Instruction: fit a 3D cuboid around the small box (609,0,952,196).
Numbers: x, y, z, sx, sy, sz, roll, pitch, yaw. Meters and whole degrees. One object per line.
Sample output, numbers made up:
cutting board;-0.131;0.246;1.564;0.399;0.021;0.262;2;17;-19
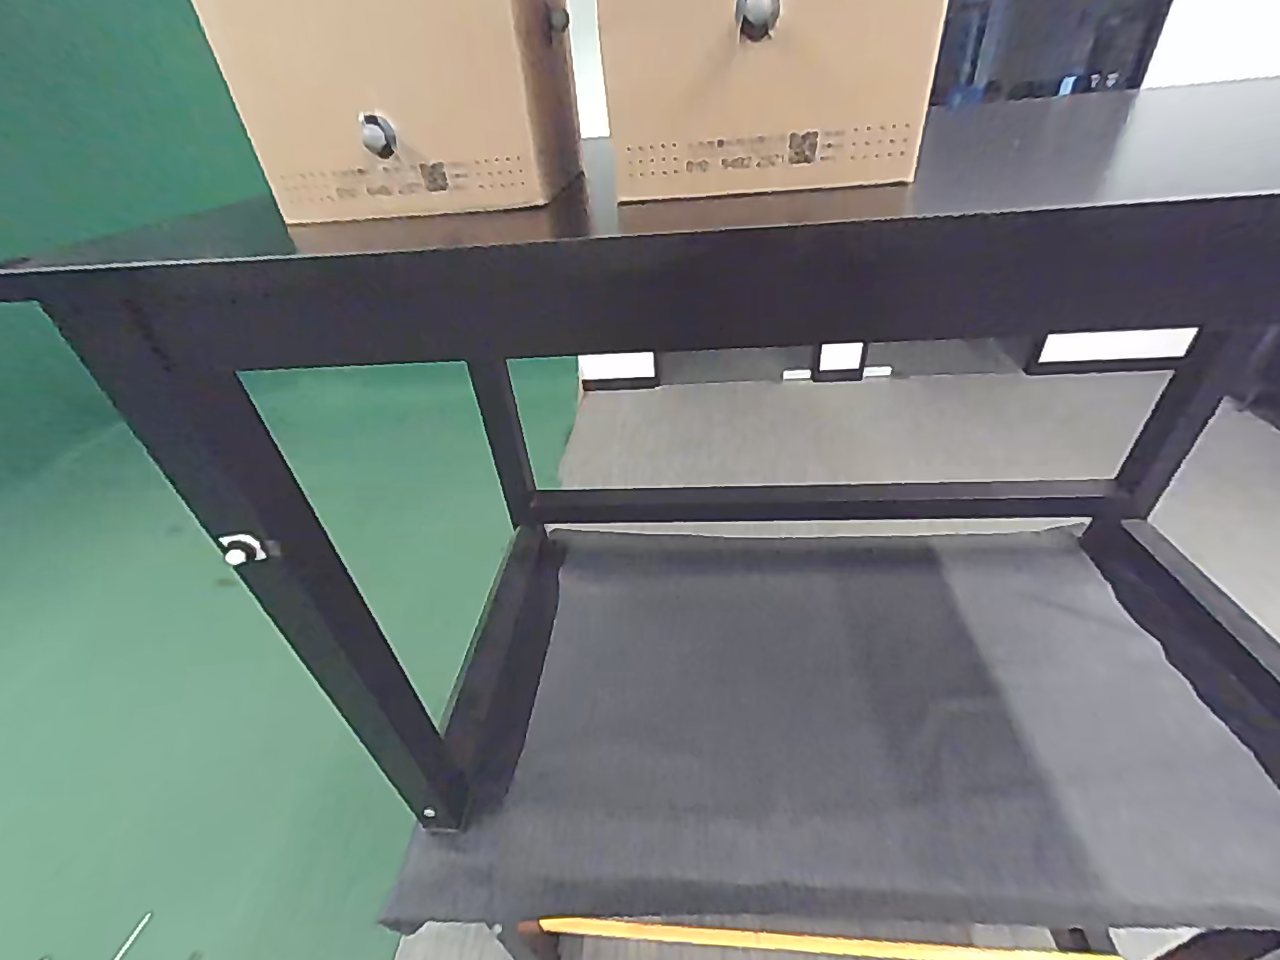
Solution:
small box;0.074;-0.273;0.320;0.168;0.176;0.179;0;36;7
